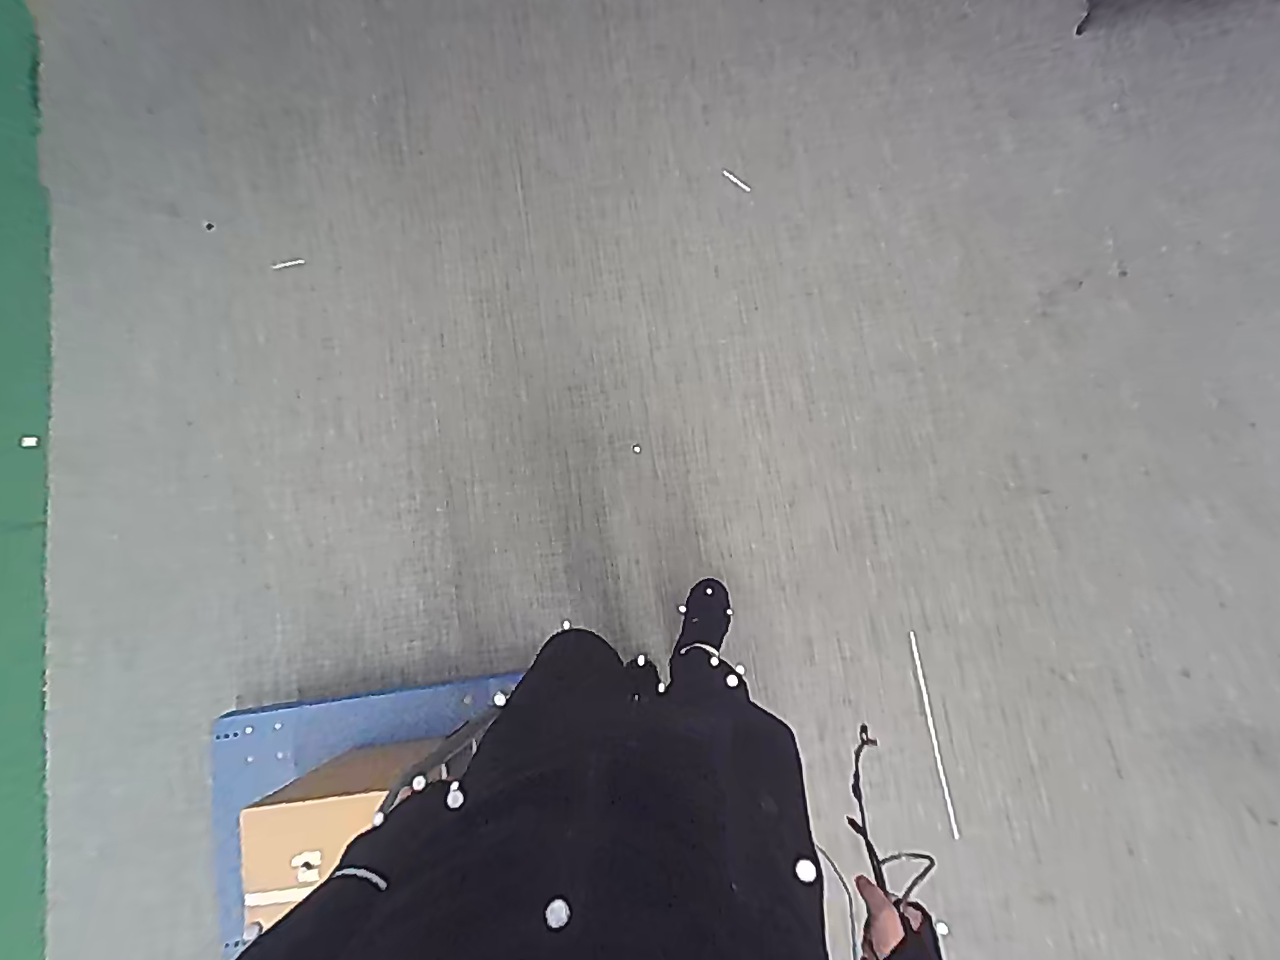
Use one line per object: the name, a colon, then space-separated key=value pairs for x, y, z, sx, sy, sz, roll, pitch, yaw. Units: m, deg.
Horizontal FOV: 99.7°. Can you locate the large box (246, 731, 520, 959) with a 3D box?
large box: x=-0.509 y=0.753 z=1.128 sx=0.408 sy=0.320 sz=0.320 roll=-10 pitch=81 yaw=7
